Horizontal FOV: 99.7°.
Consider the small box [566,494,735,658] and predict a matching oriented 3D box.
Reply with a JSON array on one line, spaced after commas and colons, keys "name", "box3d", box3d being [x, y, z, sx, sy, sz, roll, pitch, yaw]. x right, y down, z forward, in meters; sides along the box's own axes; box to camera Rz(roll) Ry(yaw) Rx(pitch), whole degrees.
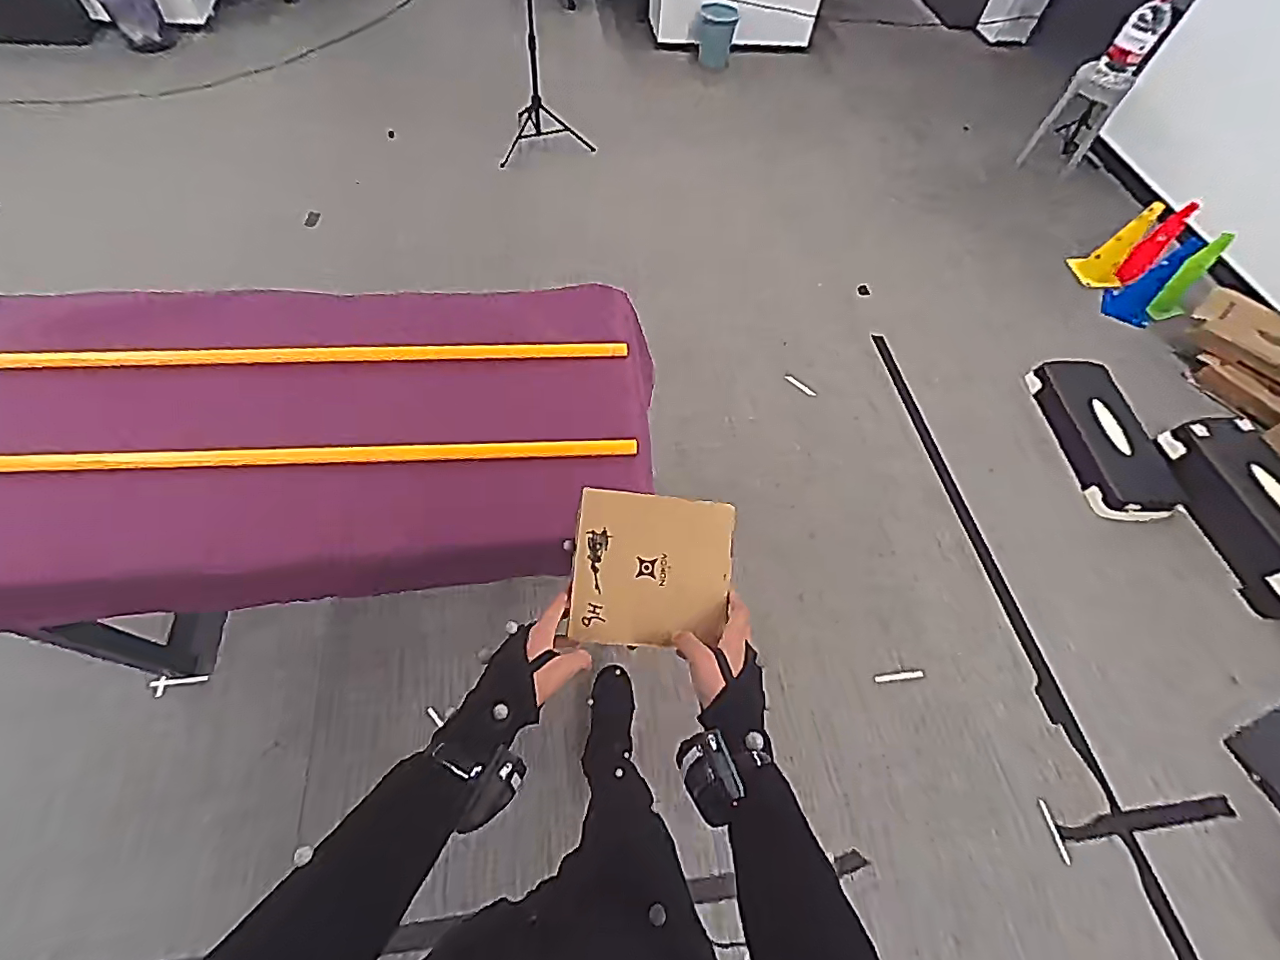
[{"name": "small box", "box3d": [0.005, 0.119, 0.681, 0.179, 0.176, 0.168, 8, 79, -7]}]
